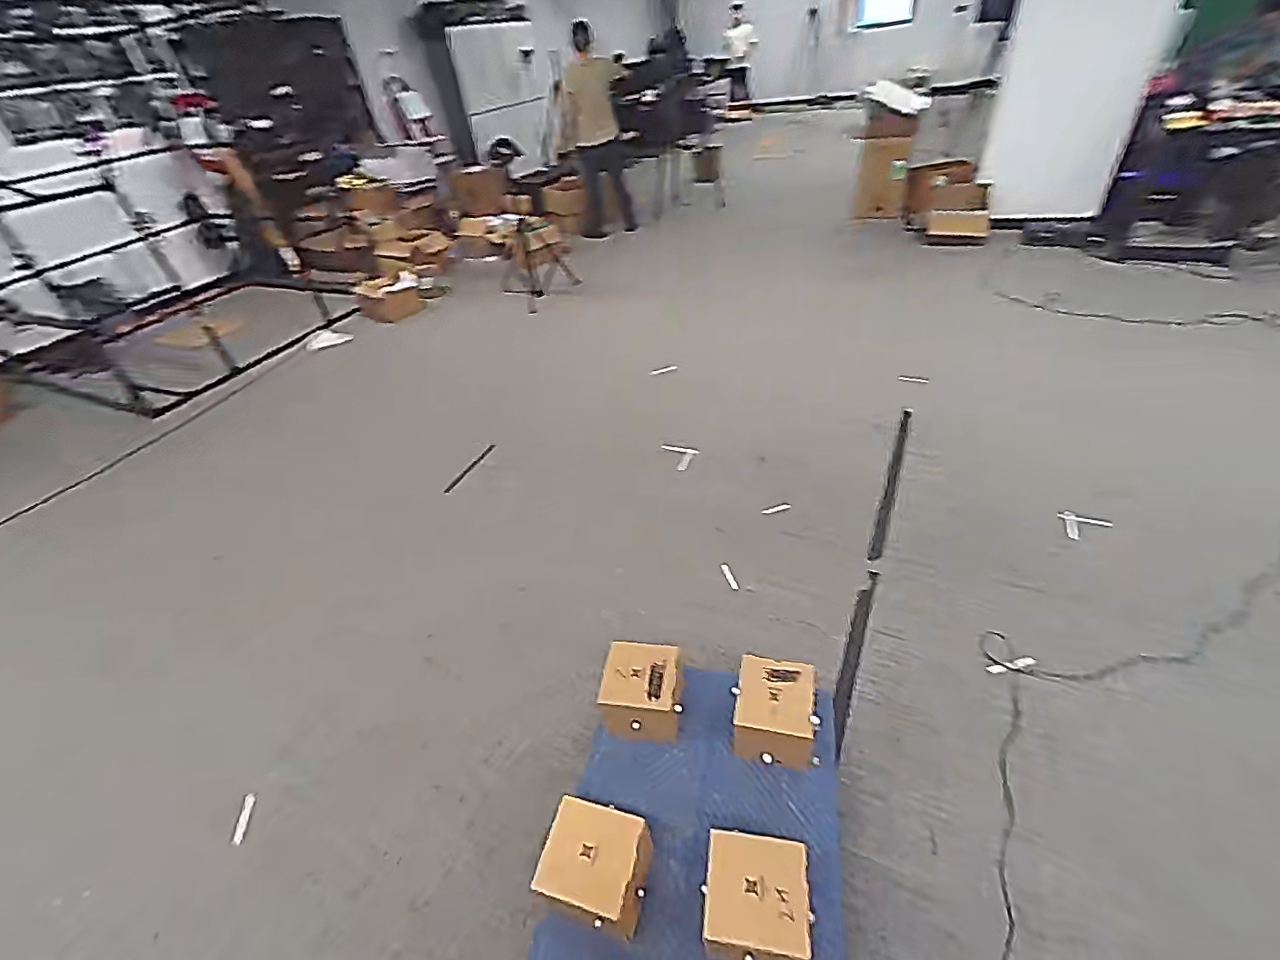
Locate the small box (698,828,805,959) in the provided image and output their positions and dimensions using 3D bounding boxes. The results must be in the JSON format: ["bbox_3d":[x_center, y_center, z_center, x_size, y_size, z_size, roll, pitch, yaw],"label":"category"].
[{"bbox_3d":[0.208,0.777,0.998,0.179,0.176,0.168,2,41,13],"label":"small box"}]

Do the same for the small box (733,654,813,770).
[{"bbox_3d":[0.309,0.542,1.265,0.168,0.176,0.179,5,42,16],"label":"small box"}]

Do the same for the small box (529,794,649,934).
[{"bbox_3d":[-0.092,0.762,1.074,0.179,0.176,0.168,7,42,16],"label":"small box"}]
